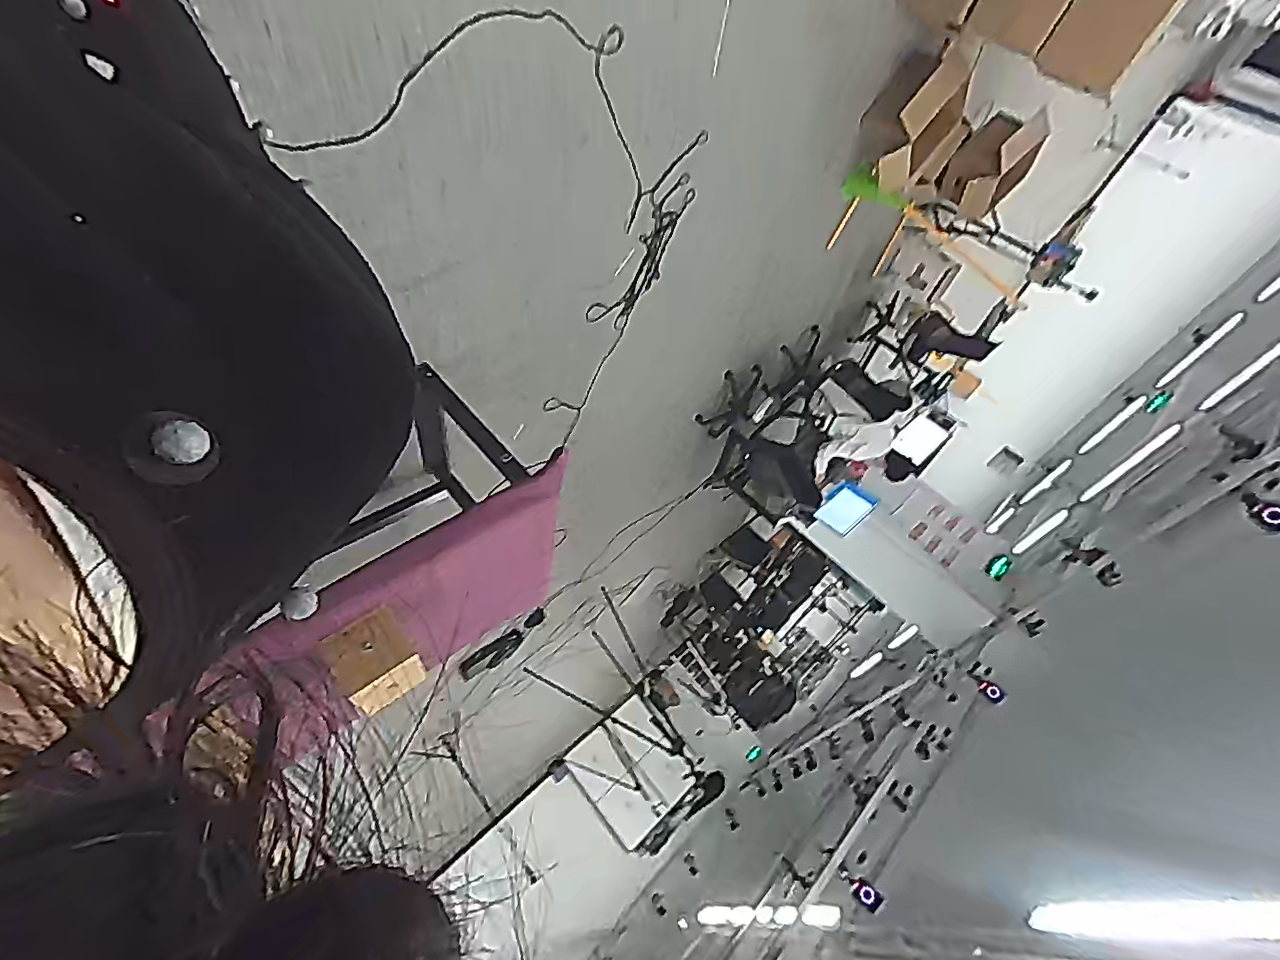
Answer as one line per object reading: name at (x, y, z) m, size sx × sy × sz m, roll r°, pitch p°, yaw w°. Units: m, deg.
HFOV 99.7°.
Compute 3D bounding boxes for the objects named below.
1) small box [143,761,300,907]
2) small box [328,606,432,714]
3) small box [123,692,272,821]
small box at (-0.812, 0.688, 1.059) m, size 0.168 × 0.176 × 0.179 m, roll -34°, pitch 154°, yaw -31°
small box at (-0.647, 0.443, 1.351) m, size 0.168 × 0.176 × 0.179 m, roll -31°, pitch 154°, yaw -31°
small box at (-0.919, 0.581, 1.123) m, size 0.179 × 0.176 × 0.168 m, roll -33°, pitch 153°, yaw -30°
